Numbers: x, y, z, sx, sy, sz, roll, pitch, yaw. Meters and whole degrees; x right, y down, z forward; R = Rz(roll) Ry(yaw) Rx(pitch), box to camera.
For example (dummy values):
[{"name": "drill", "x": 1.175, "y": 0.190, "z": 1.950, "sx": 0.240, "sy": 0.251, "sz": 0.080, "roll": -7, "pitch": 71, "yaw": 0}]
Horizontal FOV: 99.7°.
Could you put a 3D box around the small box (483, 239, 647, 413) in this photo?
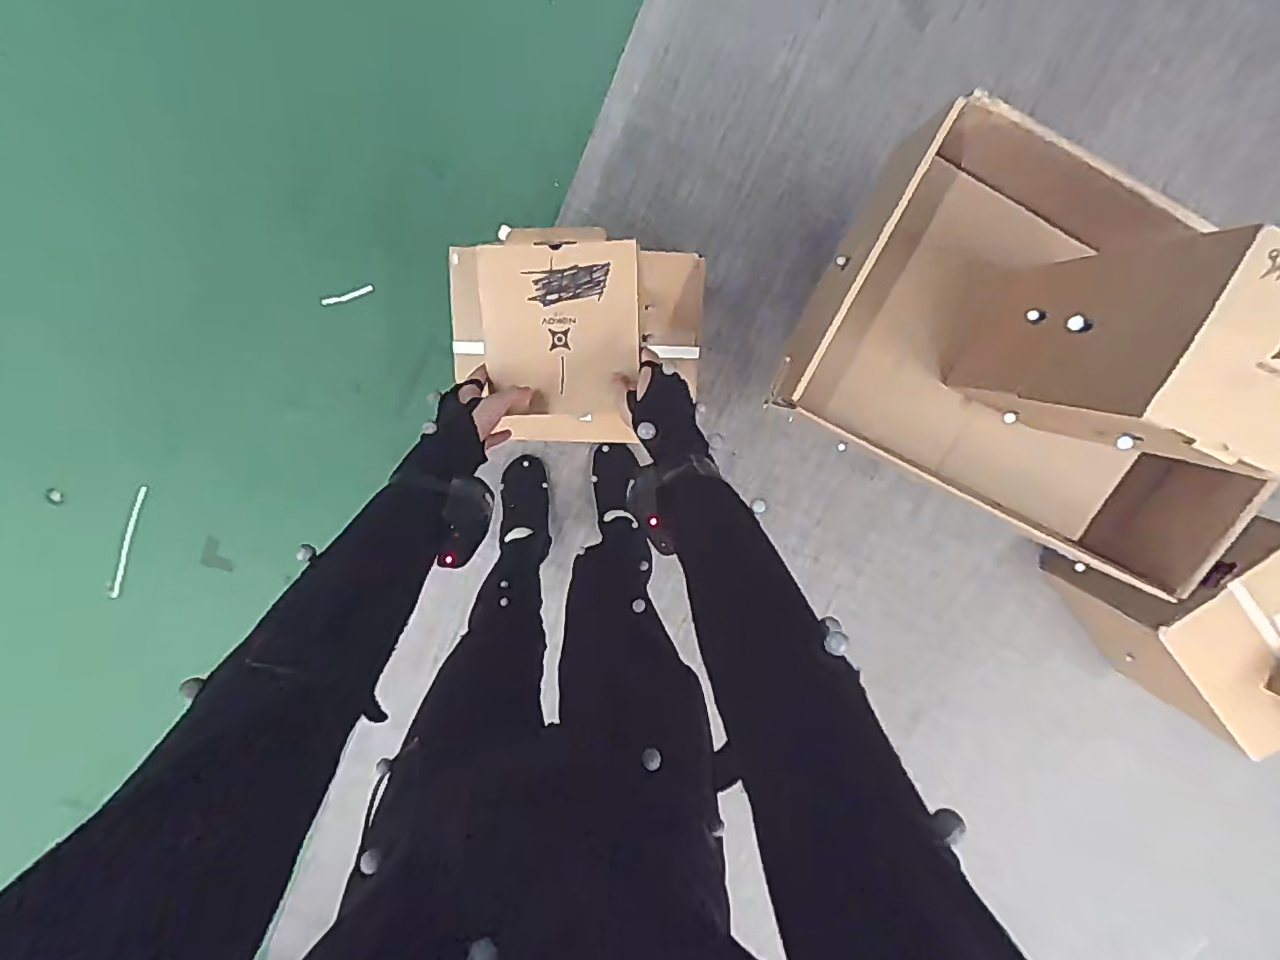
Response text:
[{"name": "small box", "x": -0.077, "y": -0.173, "z": 0.643, "sx": 0.168, "sy": 0.176, "sz": 0.179, "roll": -1, "pitch": 102, "yaw": 2}]

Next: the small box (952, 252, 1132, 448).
[{"name": "small box", "x": 0.554, "y": -0.166, "z": 0.705, "sx": 0.168, "sy": 0.176, "sz": 0.179, "roll": 24, "pitch": 103, "yaw": -5}]

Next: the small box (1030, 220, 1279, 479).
[{"name": "small box", "x": 0.548, "y": -0.127, "z": 0.546, "sx": 0.168, "sy": 0.176, "sz": 0.179, "roll": 22, "pitch": 104, "yaw": -5}]
